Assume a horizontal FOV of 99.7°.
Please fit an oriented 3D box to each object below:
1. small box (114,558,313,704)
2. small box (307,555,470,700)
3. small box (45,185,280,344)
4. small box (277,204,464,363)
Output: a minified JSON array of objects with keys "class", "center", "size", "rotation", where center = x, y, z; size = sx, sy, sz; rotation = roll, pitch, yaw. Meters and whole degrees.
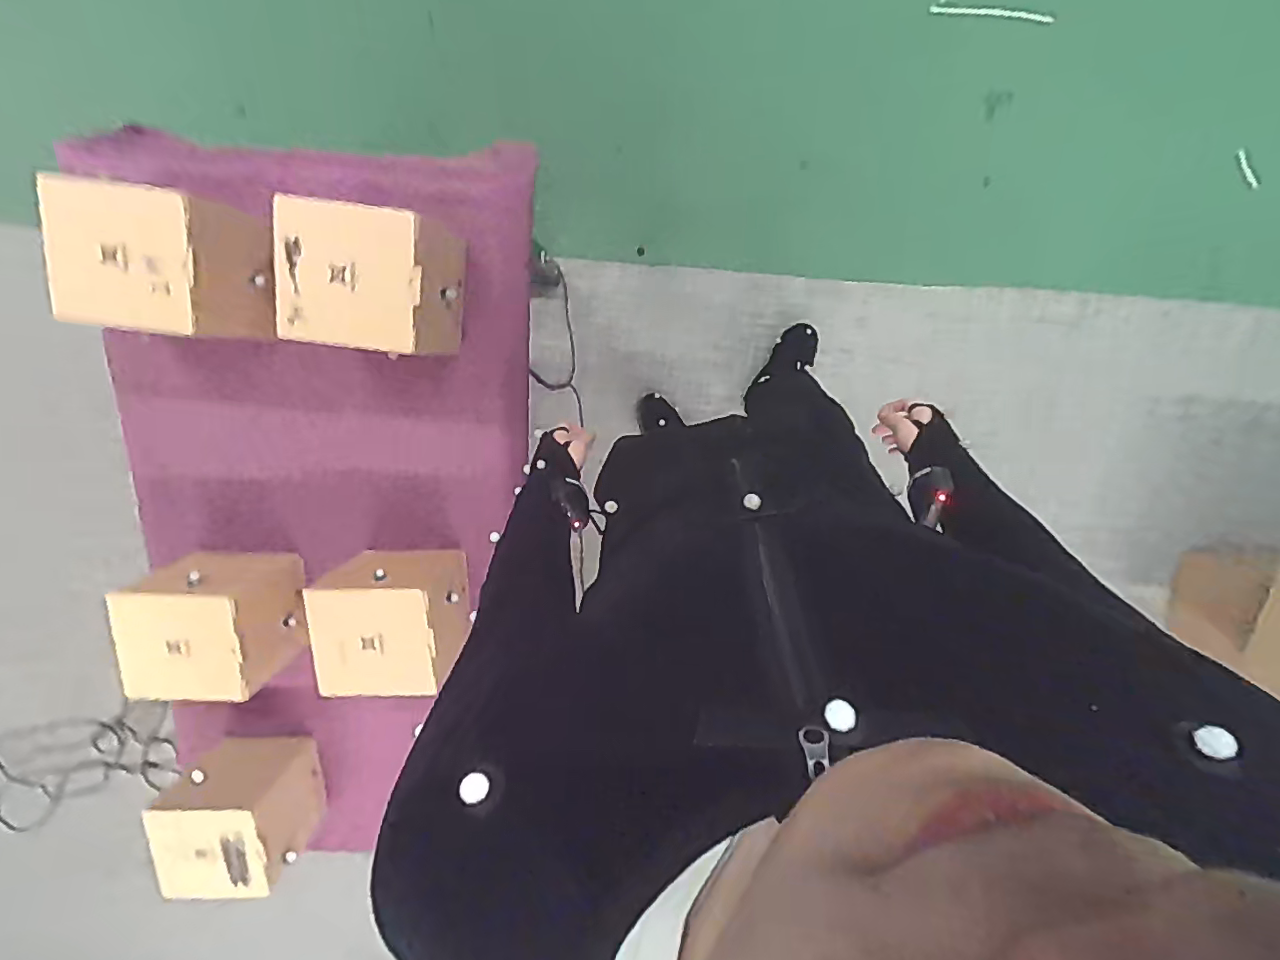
[{"class":"small box","center":[-0.654,0.229,0.852],"size":[0.179,0.176,0.168],"rotation":[1,102,-1]},{"class":"small box","center":[-0.375,0.221,0.845],"size":[0.179,0.176,0.168],"rotation":[-1,102,2]},{"class":"small box","center":[-0.628,-0.279,0.736],"size":[0.179,0.176,0.168],"rotation":[7,103,-2]},{"class":"small box","center":[-0.353,-0.256,0.736],"size":[0.179,0.176,0.168],"rotation":[8,103,0]}]
